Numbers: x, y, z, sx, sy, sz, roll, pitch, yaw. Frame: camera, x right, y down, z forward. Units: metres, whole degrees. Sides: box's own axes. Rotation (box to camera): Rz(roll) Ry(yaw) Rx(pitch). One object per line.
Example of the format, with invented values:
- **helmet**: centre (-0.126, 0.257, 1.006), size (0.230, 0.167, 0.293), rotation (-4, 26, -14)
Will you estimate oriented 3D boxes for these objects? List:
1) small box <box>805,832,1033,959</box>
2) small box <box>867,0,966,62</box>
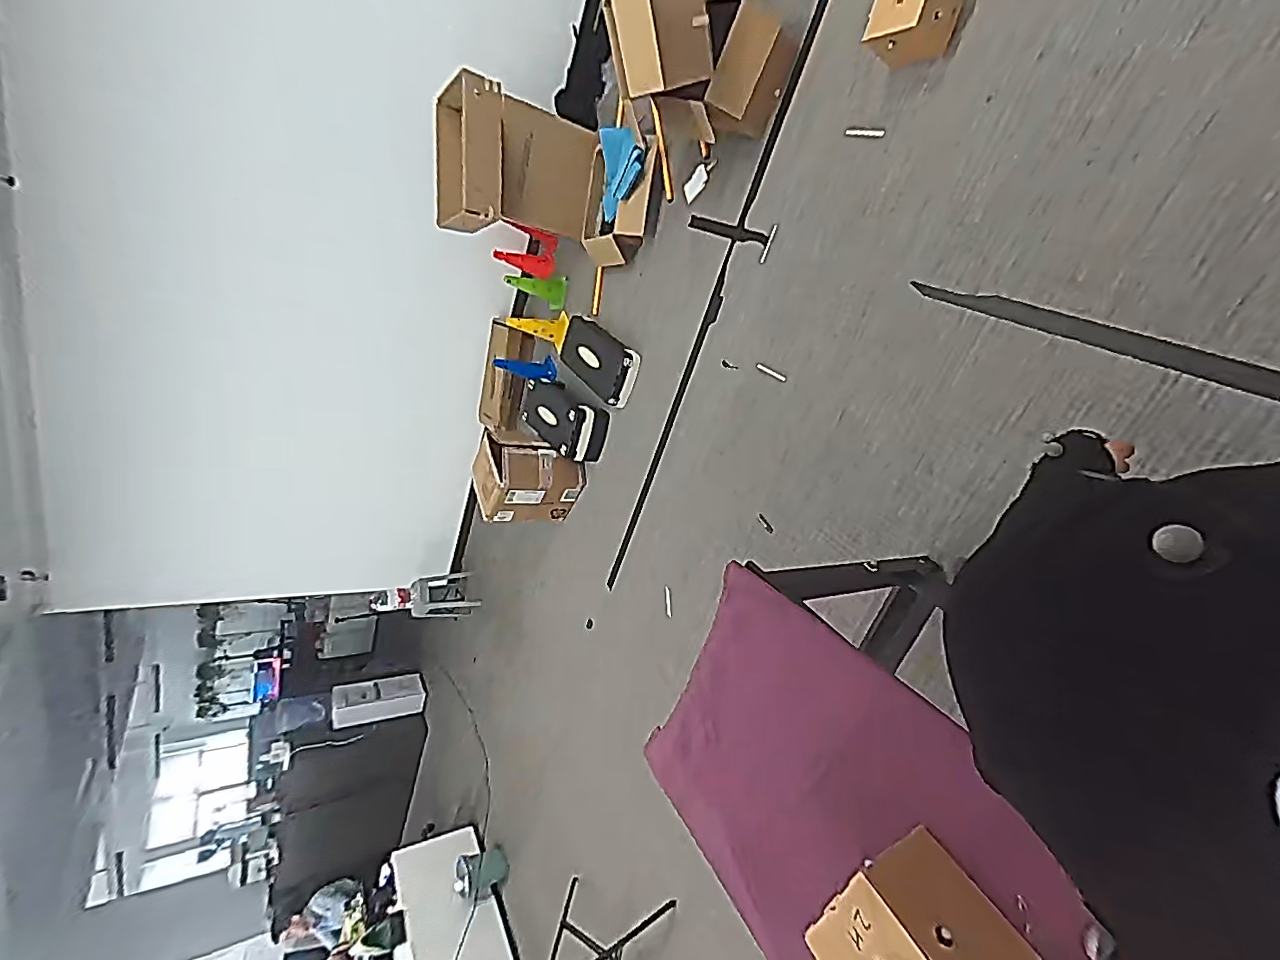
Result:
- **small box**: centre (0.362, 0.611, 0.707), size (0.179, 0.176, 0.168), rotation (48, 124, 45)
- **small box**: centre (0.788, -1.326, 1.525), size (0.179, 0.176, 0.168), rotation (36, 116, 50)
